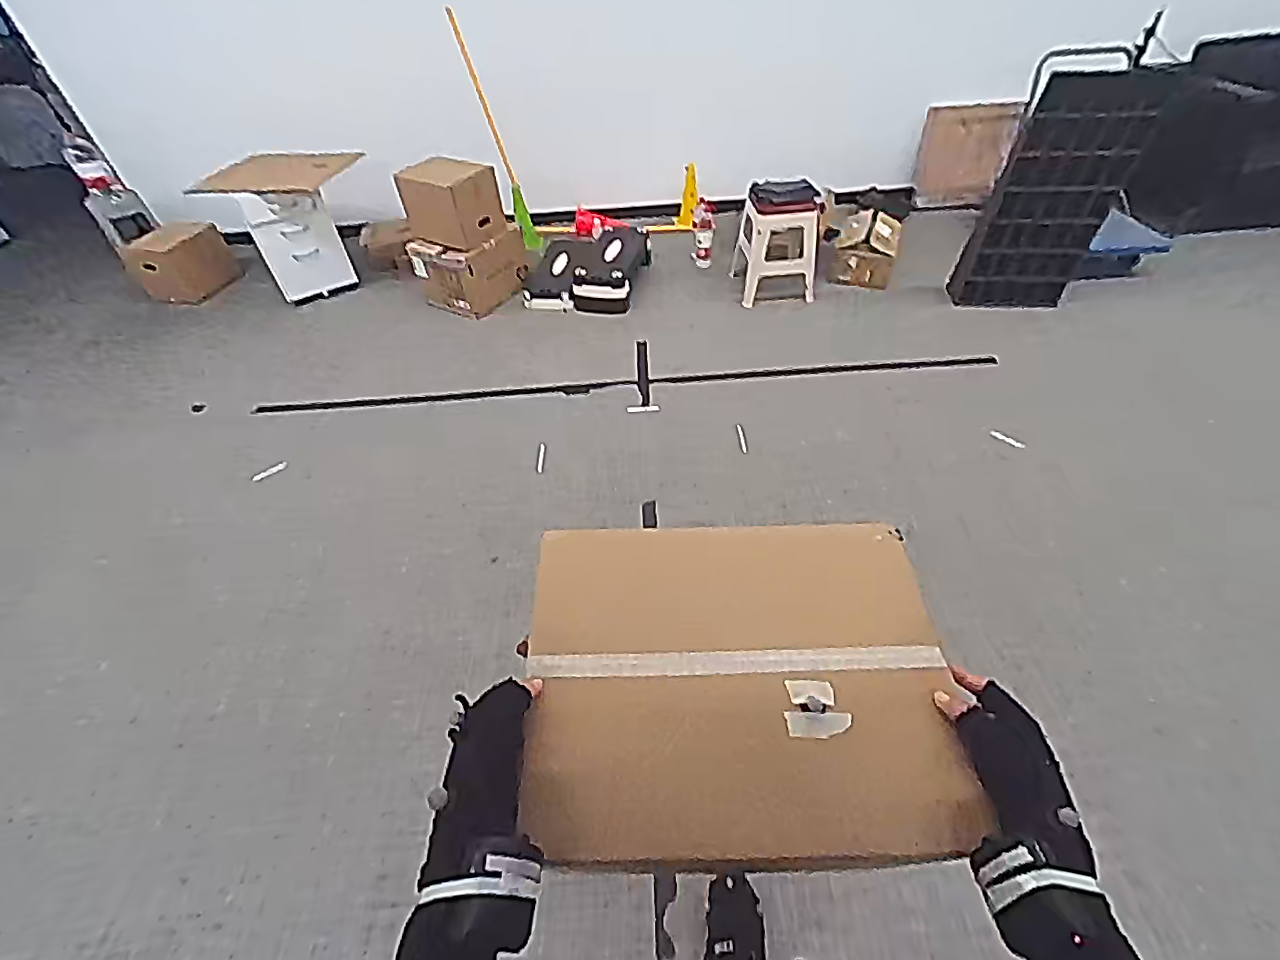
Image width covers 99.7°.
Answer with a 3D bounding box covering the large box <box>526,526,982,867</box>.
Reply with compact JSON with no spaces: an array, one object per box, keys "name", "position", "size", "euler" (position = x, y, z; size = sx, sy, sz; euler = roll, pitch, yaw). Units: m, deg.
[{"name":"large box","position":[0.094,0.274,0.668],"size":[0.408,0.320,0.320],"euler":[-1,53,-1]}]
